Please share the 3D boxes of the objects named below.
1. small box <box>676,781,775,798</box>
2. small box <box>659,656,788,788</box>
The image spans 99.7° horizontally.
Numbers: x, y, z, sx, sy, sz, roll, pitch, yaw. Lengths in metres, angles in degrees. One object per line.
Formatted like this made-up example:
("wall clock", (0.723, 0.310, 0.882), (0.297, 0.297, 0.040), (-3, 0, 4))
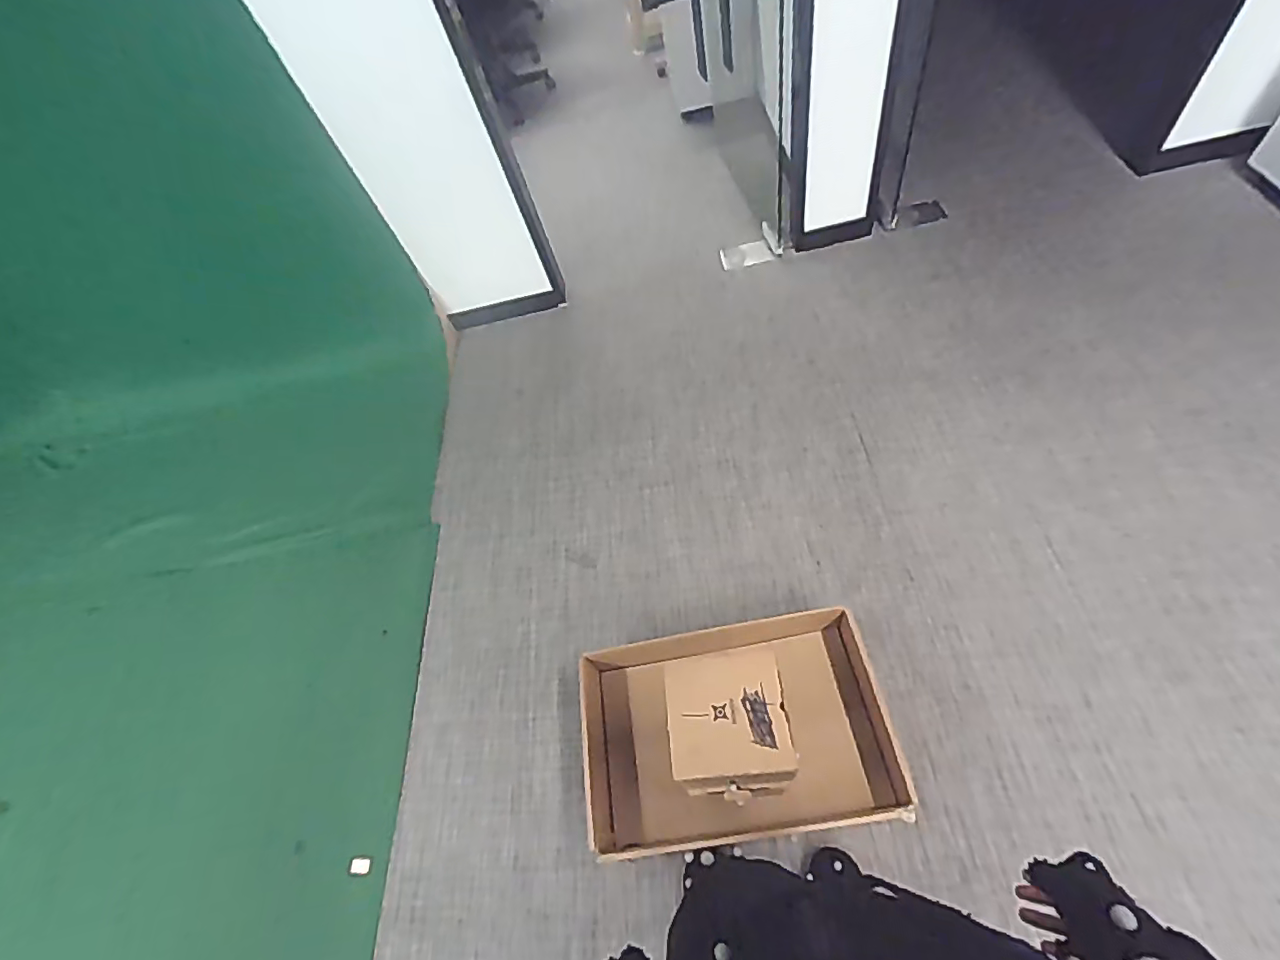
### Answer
("small box", (0.152, 0.480, 0.994), (0.168, 0.176, 0.179), (-8, 57, 7))
("small box", (0.132, 0.395, 0.874), (0.179, 0.176, 0.168), (-8, 55, 8))
